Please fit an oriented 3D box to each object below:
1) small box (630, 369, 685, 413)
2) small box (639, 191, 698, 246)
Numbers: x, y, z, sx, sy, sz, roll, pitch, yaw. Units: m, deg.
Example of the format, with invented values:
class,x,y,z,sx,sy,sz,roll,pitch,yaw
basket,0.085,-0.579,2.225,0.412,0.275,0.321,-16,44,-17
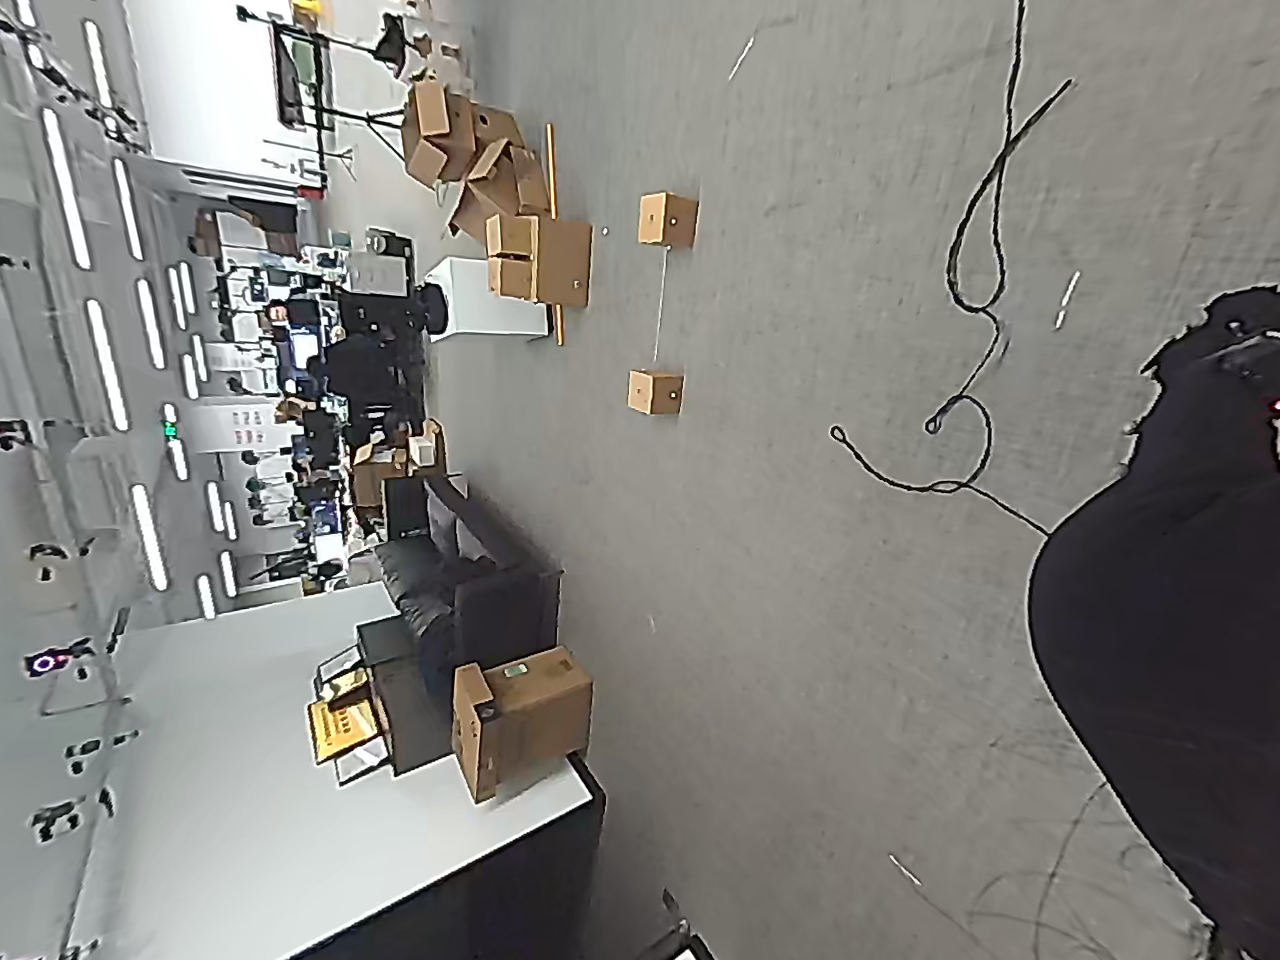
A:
class,x,y,z,sx,sy,sz,roll,pitch,yaw
small box,0.076,-0.397,2.393,0.179,0.176,0.168,29,121,49
small box,0.115,-1.046,2.175,0.168,0.176,0.179,28,121,49
